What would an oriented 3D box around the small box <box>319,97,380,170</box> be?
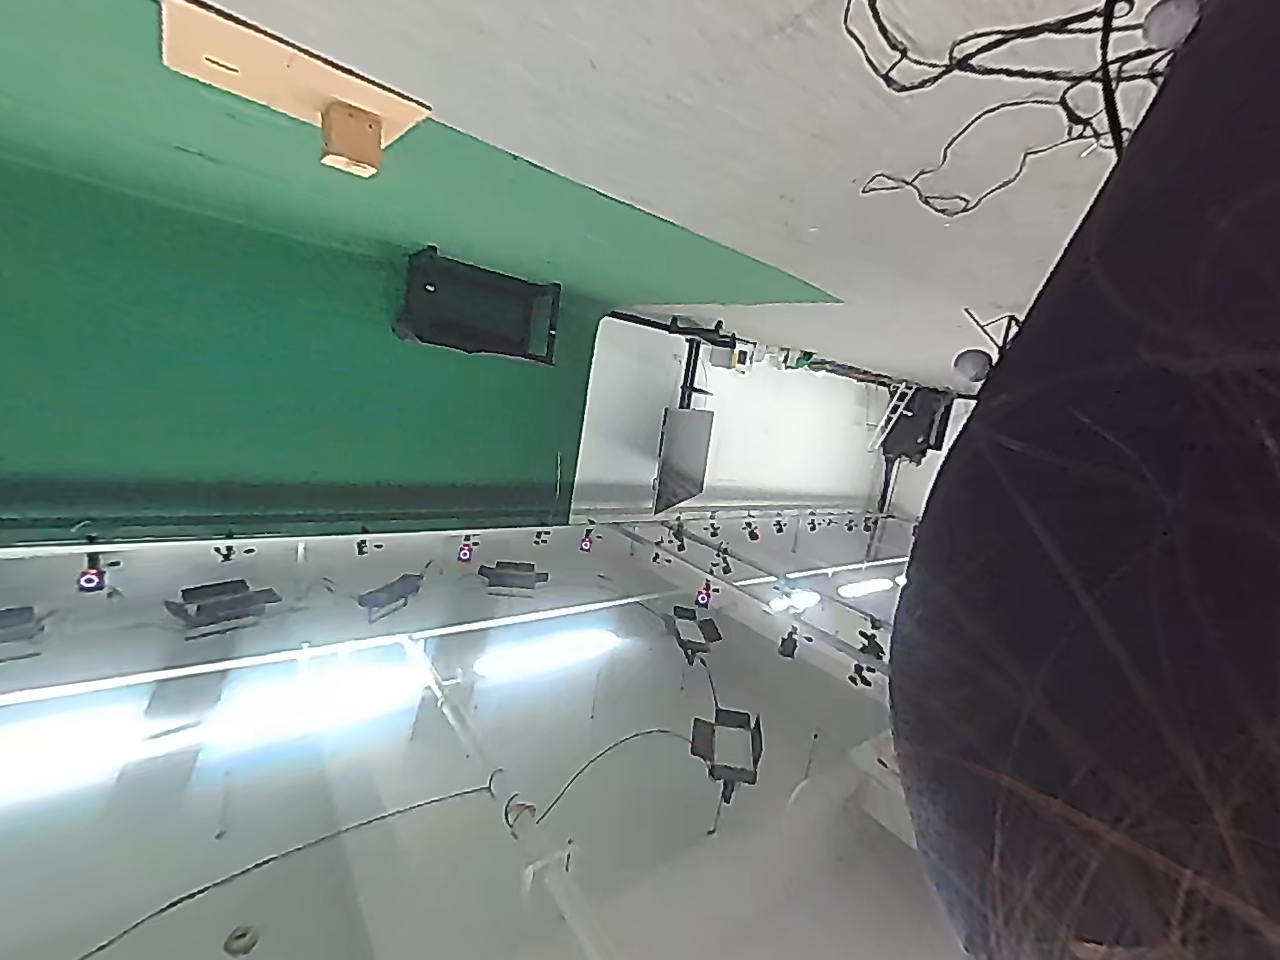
[{"bbox_3d":[-1.077,-1.283,2.004,0.168,0.176,0.179,-1,-165,-42],"label":"small box"}]
